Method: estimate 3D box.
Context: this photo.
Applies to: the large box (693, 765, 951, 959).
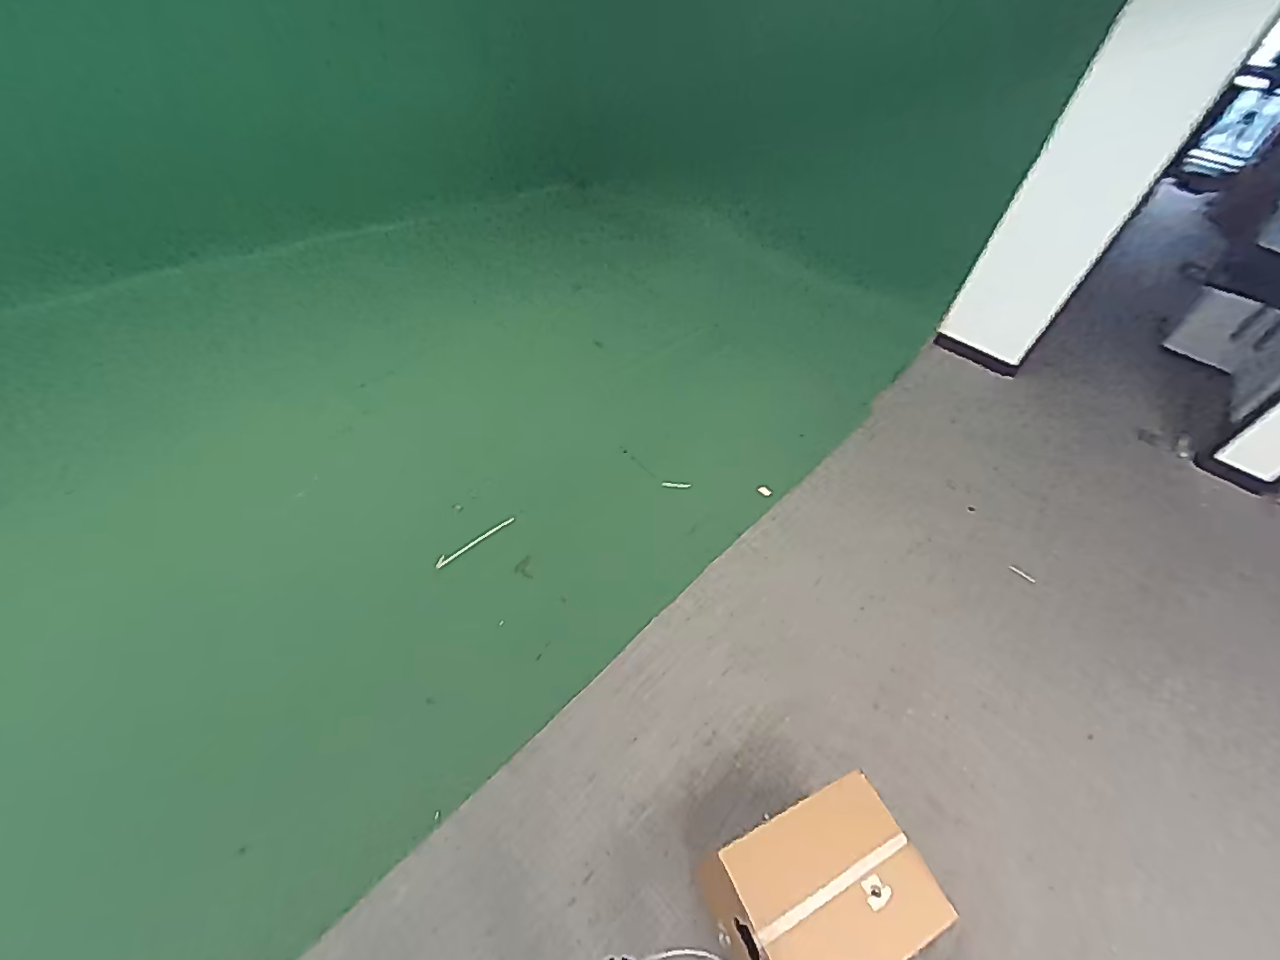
[{"bbox_3d":[0.384,0.934,1.227,0.408,0.320,0.320,-16,51,-23],"label":"large box"}]
